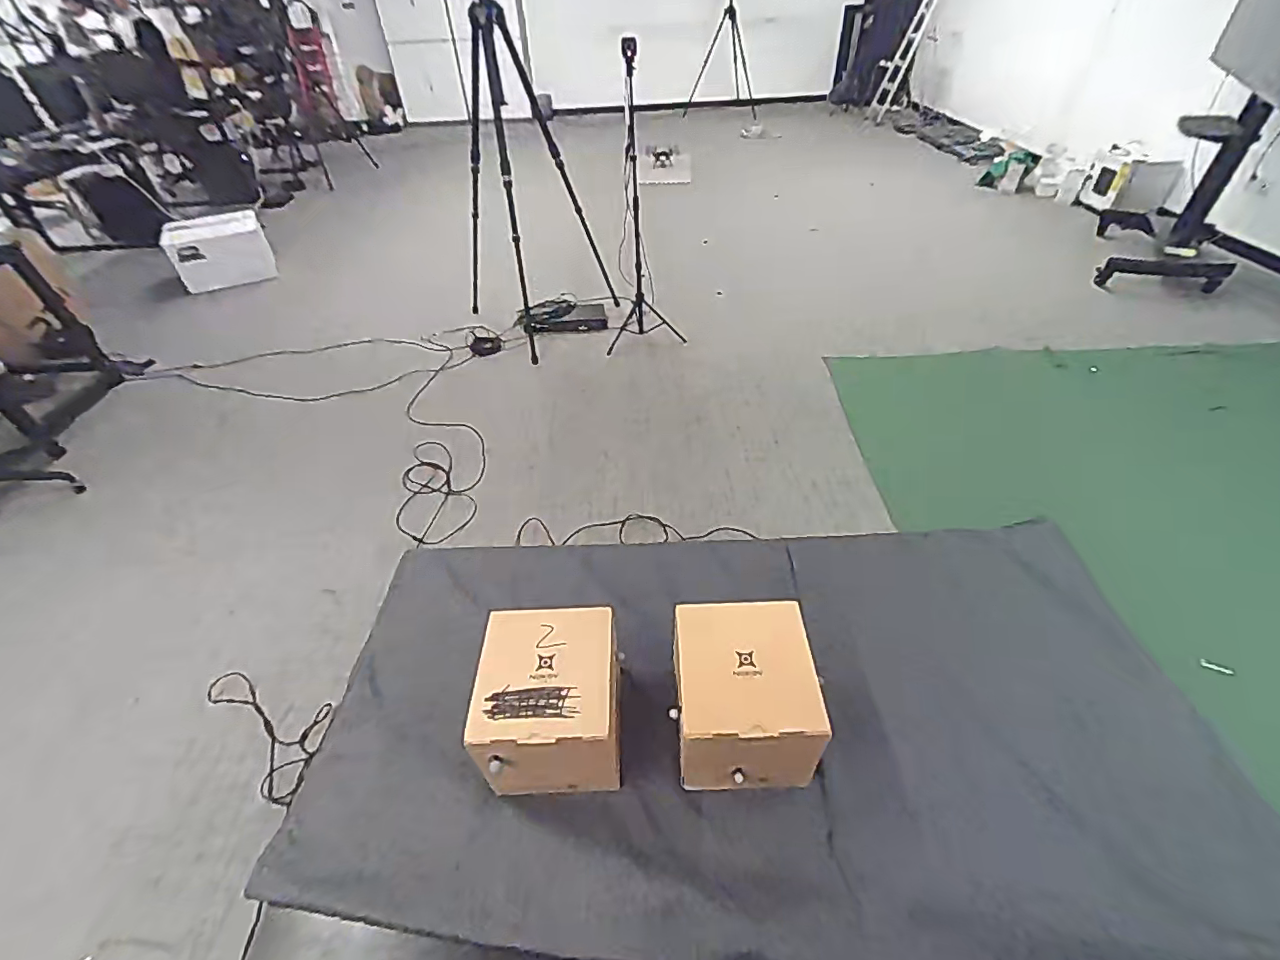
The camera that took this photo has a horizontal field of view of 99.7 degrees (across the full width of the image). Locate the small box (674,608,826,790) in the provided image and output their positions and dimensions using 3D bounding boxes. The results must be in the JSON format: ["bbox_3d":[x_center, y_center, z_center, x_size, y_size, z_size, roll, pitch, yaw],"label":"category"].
[{"bbox_3d":[0.132,0.293,0.728,0.168,0.176,0.179,-2,43,1],"label":"small box"}]
